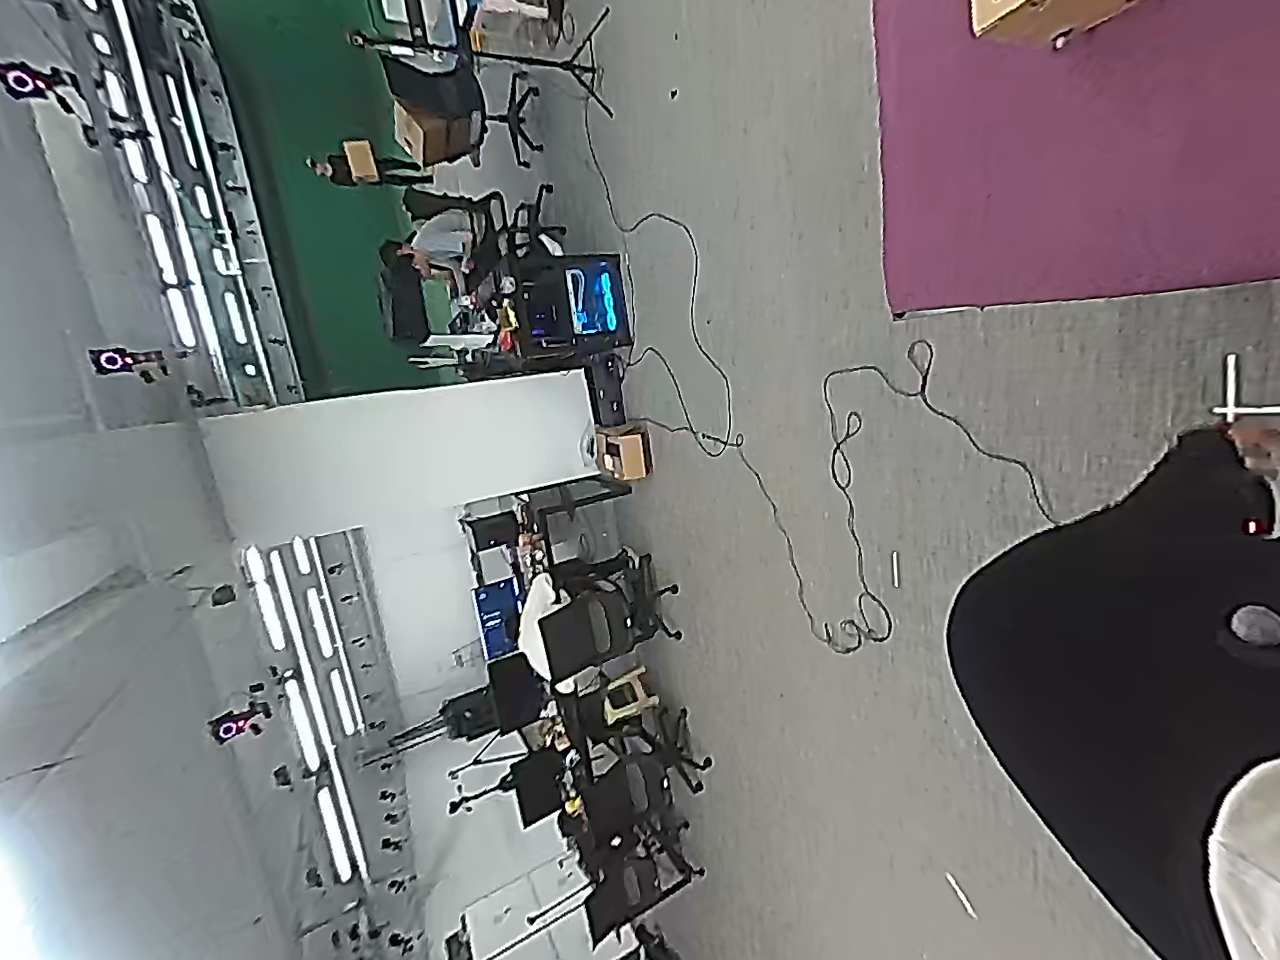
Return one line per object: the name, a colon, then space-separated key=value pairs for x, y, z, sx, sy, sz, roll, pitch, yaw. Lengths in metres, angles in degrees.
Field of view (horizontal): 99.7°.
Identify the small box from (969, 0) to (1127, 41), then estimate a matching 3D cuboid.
small box: x=0.509 y=-0.647 z=0.621 sx=0.168 sy=0.176 sz=0.179 roll=11 pitch=112 yaw=62
